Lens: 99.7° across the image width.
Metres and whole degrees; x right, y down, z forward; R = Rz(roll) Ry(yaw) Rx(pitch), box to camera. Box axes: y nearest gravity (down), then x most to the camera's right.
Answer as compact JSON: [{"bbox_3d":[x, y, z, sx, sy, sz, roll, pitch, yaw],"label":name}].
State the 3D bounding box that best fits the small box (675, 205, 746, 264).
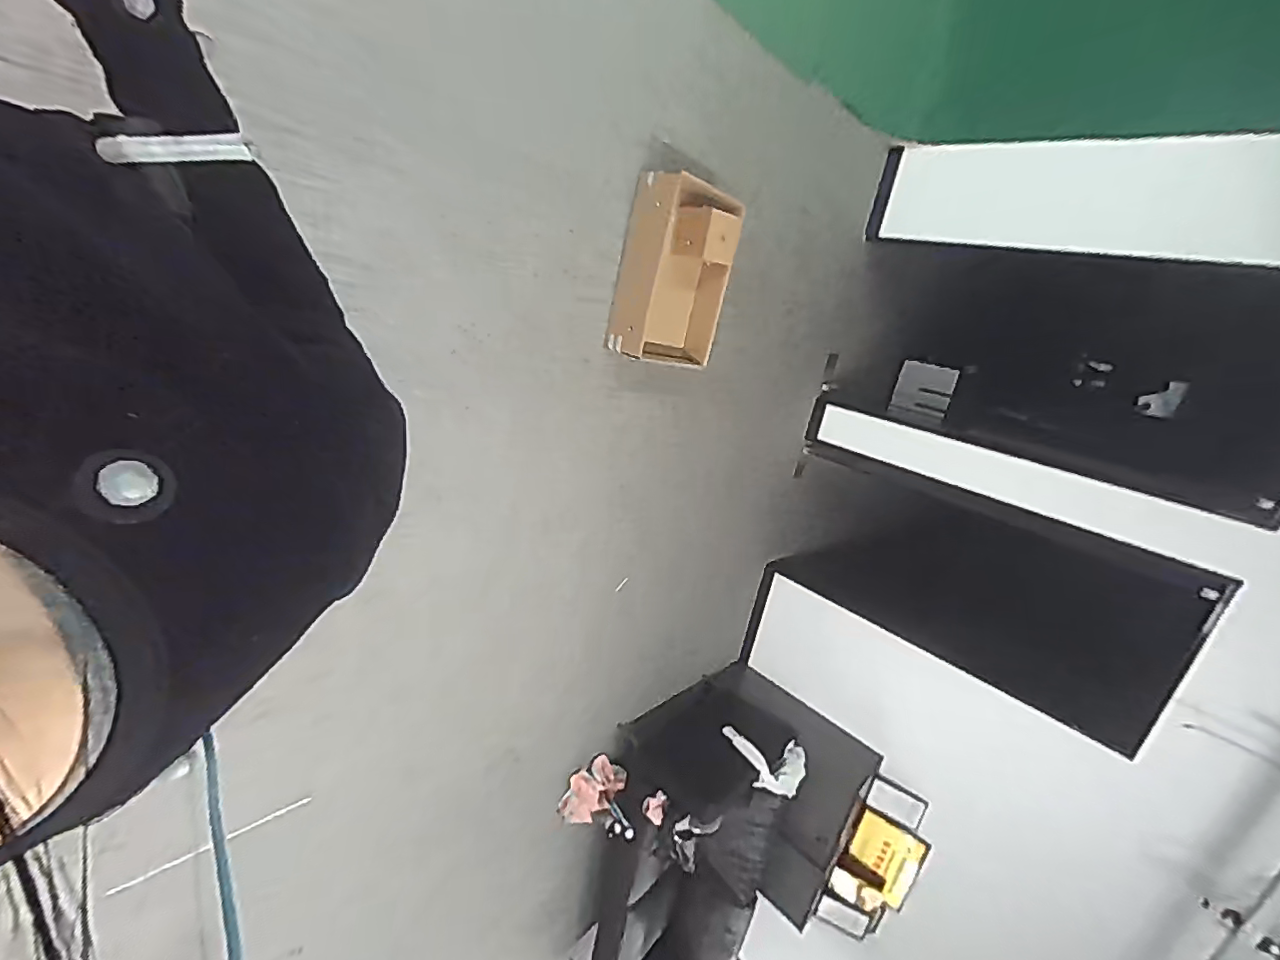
[{"bbox_3d":[0.252,-0.894,1.971,0.179,0.176,0.168,-9,118,-44],"label":"small box"}]
